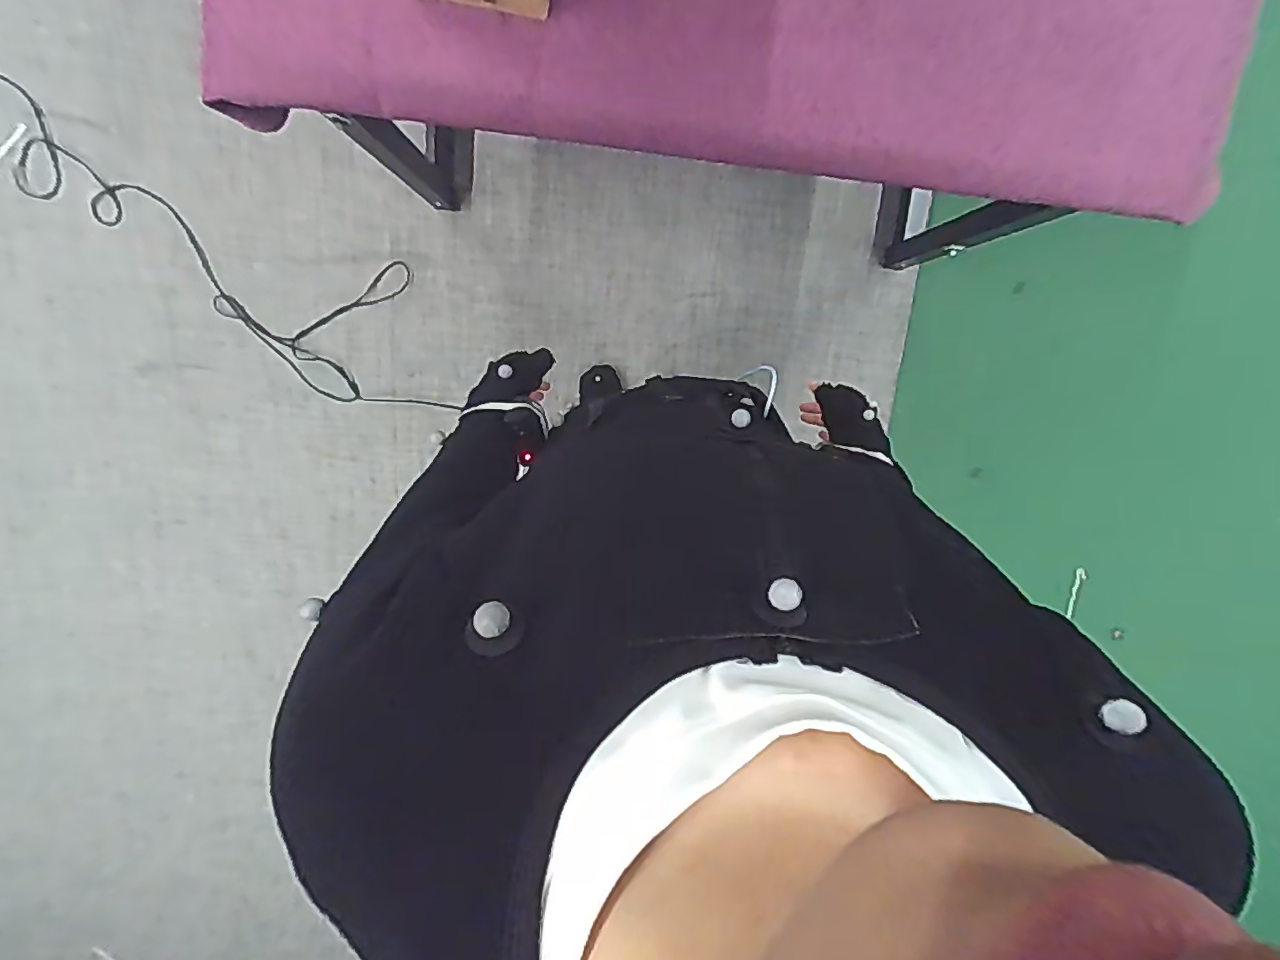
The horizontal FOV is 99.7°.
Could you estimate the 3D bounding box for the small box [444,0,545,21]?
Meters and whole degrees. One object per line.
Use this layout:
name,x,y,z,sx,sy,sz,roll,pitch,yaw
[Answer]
small box,-0.172,-0.607,0.521,0.168,0.176,0.179,9,101,-5
